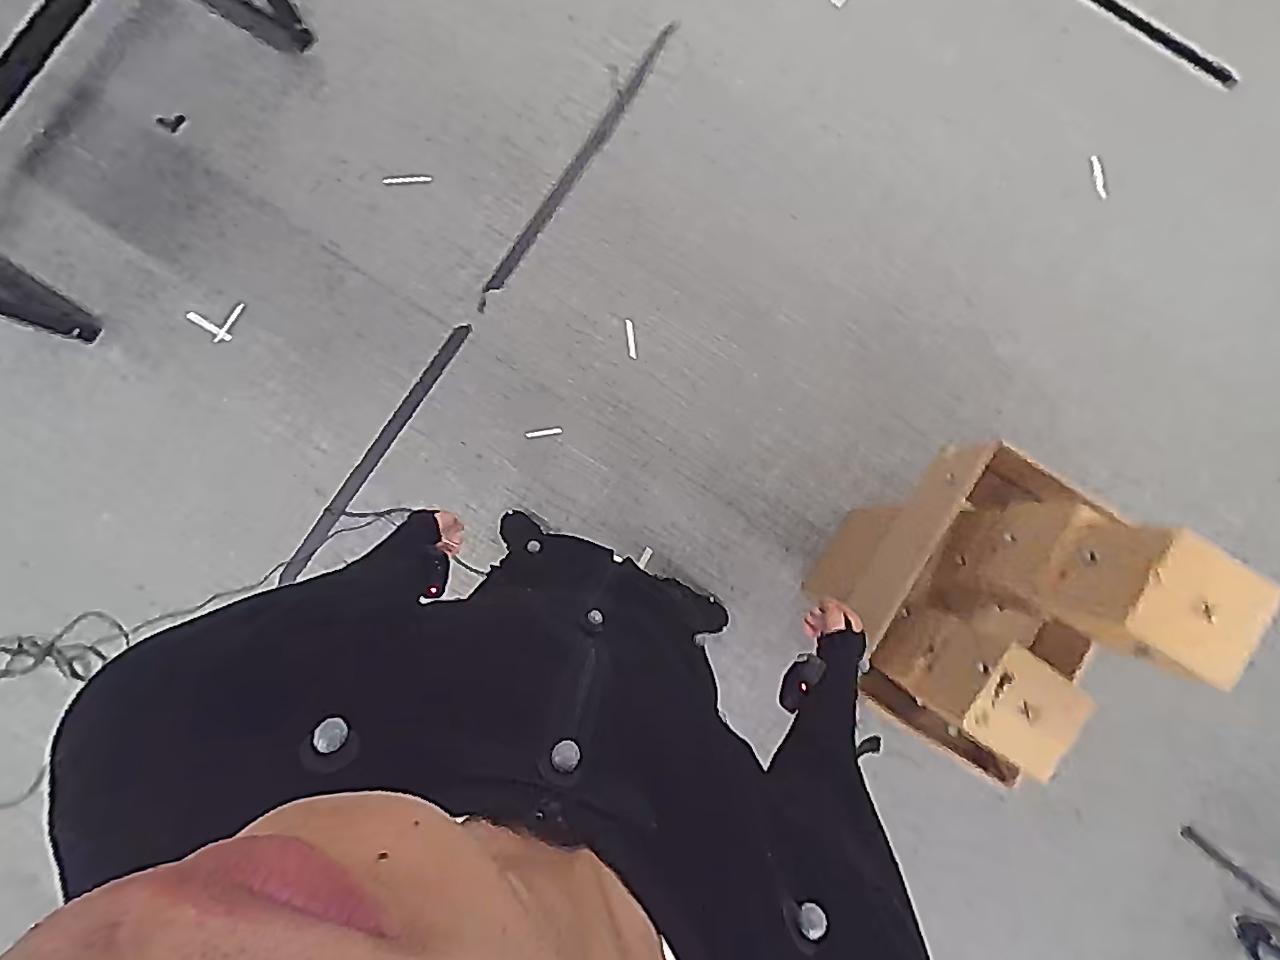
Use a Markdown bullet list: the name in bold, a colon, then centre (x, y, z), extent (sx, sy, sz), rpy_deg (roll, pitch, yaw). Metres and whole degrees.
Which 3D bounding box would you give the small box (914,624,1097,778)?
- **small box**: centre (0.650, 0.385, 0.982), extent (0.179, 0.176, 0.168), rpy_deg (36, 87, -1)

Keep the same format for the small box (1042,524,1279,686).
- **small box**: centre (0.792, 0.178, 0.839), extent (0.179, 0.176, 0.168), rpy_deg (31, 89, 0)

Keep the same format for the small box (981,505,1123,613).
- **small box**: centre (0.790, 0.151, 1.002), extent (0.179, 0.176, 0.168), rpy_deg (28, 88, 0)
